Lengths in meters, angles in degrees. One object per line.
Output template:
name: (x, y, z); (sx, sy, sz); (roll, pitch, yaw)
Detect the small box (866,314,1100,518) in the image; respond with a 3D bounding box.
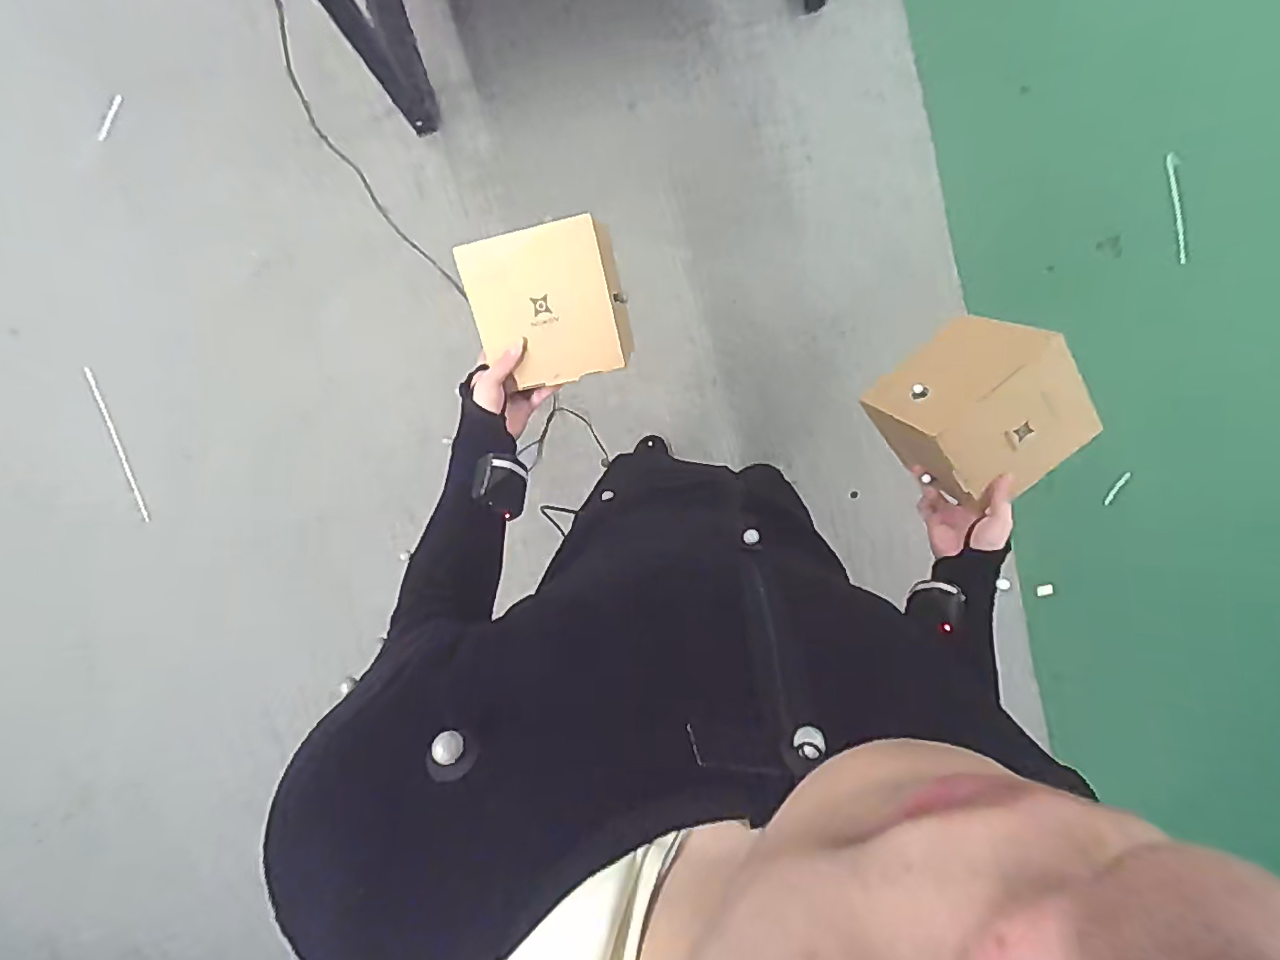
small box: (0.428, -0.090, 0.705); (0.179, 0.176, 0.168); (-43, 116, 8)

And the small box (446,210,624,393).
small box: (-0.119, -0.228, 0.693); (0.168, 0.176, 0.179); (-11, 113, 6)
